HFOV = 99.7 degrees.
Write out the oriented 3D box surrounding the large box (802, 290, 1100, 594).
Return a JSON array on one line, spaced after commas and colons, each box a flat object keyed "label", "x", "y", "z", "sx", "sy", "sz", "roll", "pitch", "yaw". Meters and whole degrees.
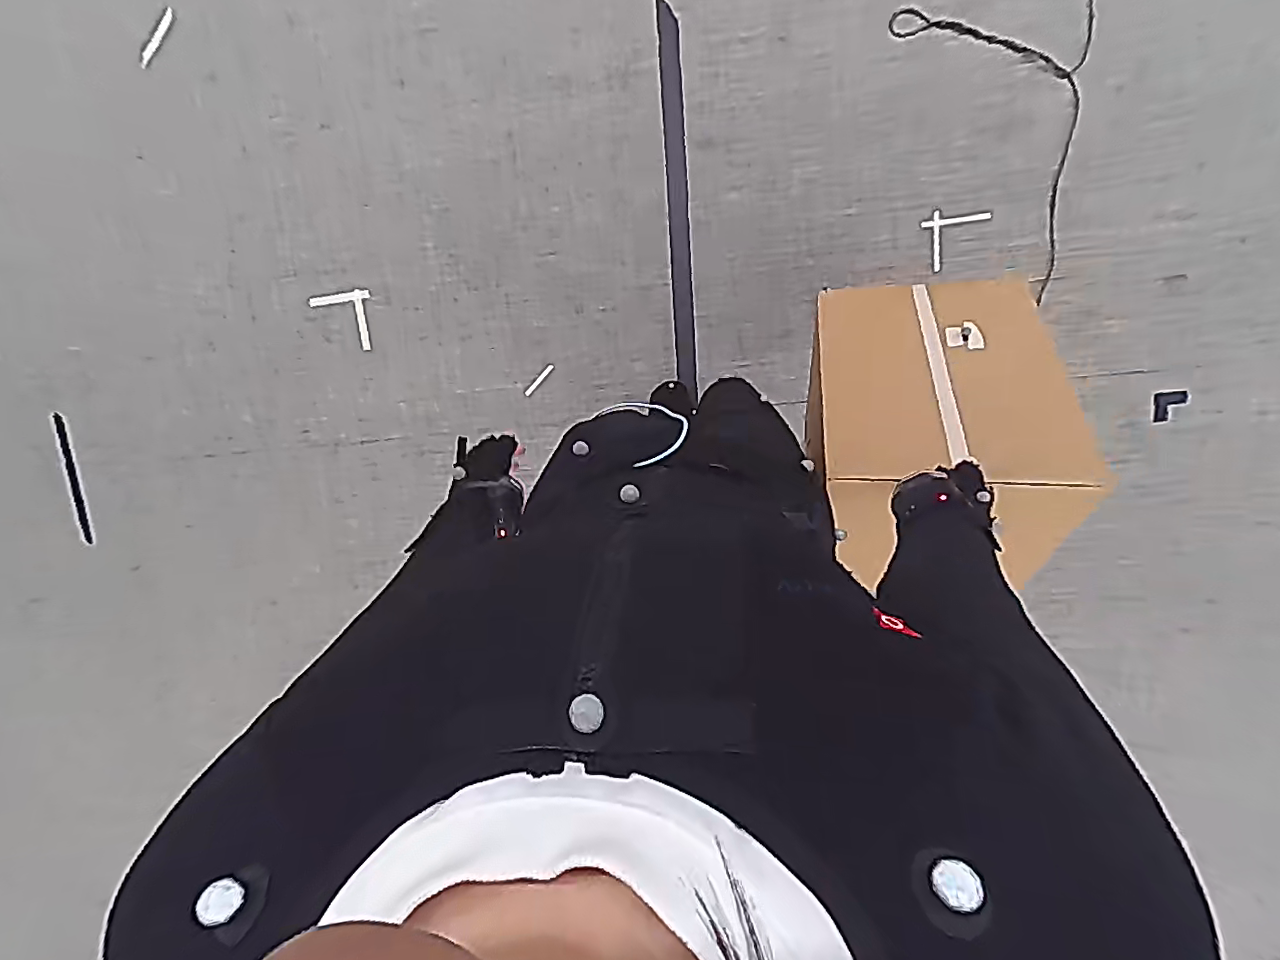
[{"label": "large box", "x": 0.446, "y": -0.061, "z": 0.899, "sx": 0.320, "sy": 0.408, "sz": 0.320, "roll": 2, "pitch": 142, "yaw": 11}]
